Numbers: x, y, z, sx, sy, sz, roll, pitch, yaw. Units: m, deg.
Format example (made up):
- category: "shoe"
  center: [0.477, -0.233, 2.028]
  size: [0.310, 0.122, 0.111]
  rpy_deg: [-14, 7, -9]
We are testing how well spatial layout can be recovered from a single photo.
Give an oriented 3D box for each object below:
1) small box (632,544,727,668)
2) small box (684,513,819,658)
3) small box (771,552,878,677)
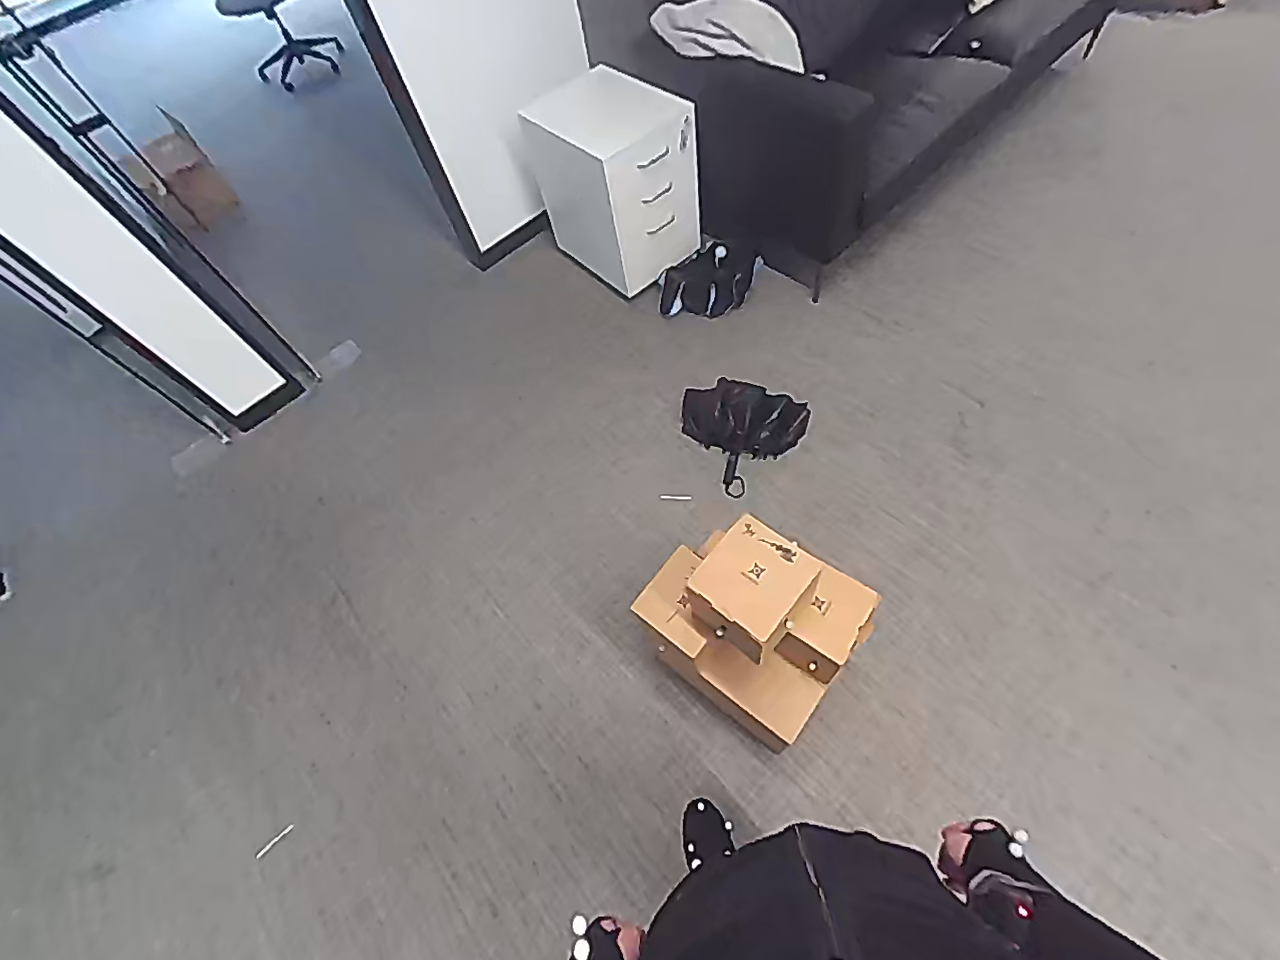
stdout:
- category: "small box"
  center: [0.109, 0.274, 1.158]
  size: [0.168, 0.176, 0.179]
  rpy_deg: [35, 73, 26]
- category: "small box"
  center: [0.205, 0.199, 0.991]
  size: [0.168, 0.176, 0.179]
  rpy_deg: [36, 73, 26]
- category: "small box"
  center: [0.355, 0.283, 1.112]
  size: [0.179, 0.176, 0.168]
  rpy_deg: [30, 66, 25]
